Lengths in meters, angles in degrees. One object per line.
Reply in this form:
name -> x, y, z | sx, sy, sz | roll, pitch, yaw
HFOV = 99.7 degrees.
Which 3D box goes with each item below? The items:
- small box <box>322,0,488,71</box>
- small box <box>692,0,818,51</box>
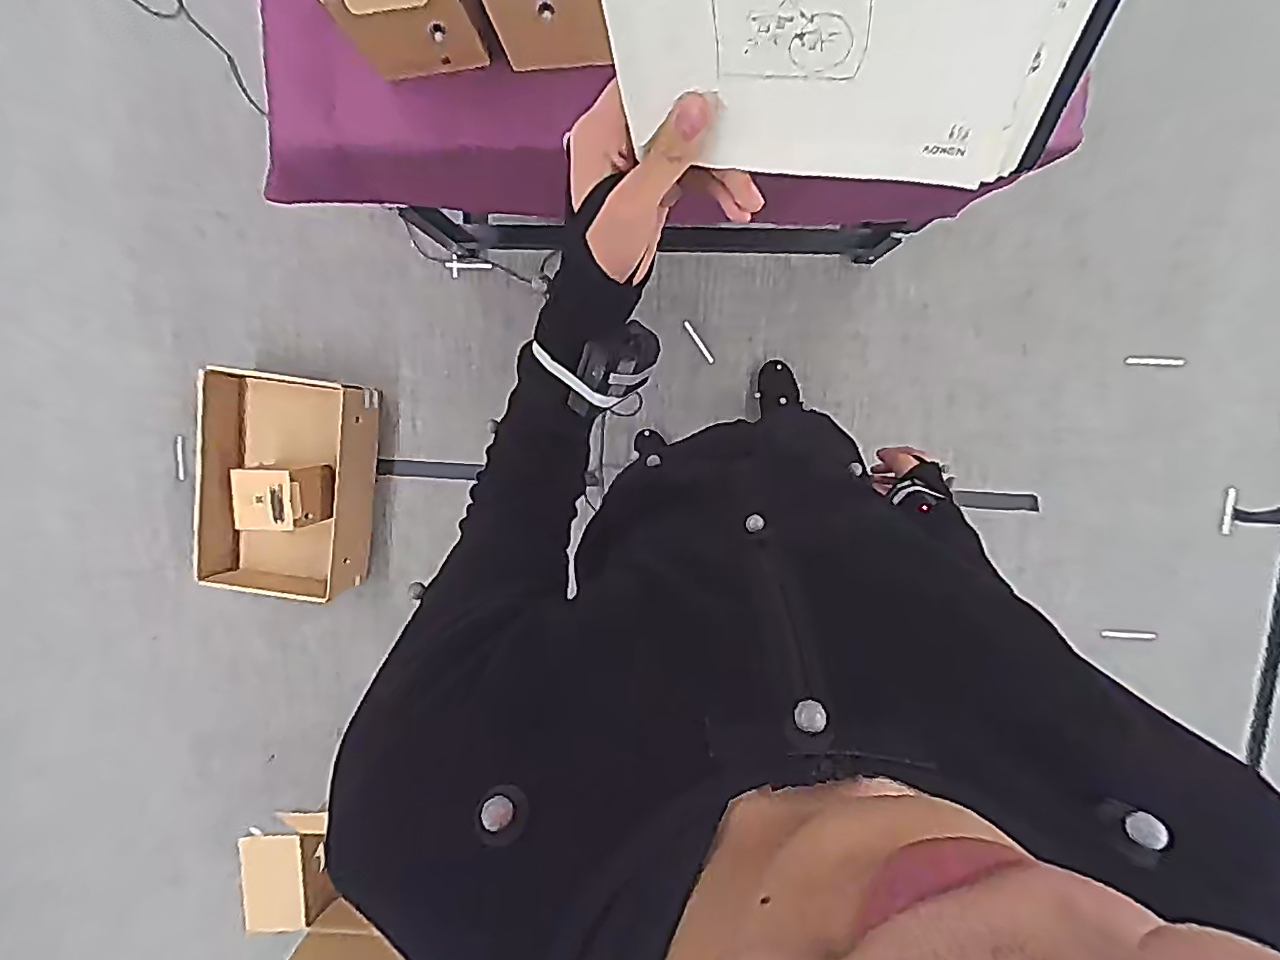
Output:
small box -> -0.315, -0.688, 0.725 | 0.168, 0.176, 0.179 | -6, 97, 3
small box -> 0.158, -0.701, 0.698 | 0.168, 0.176, 0.179 | 5, 97, 2
